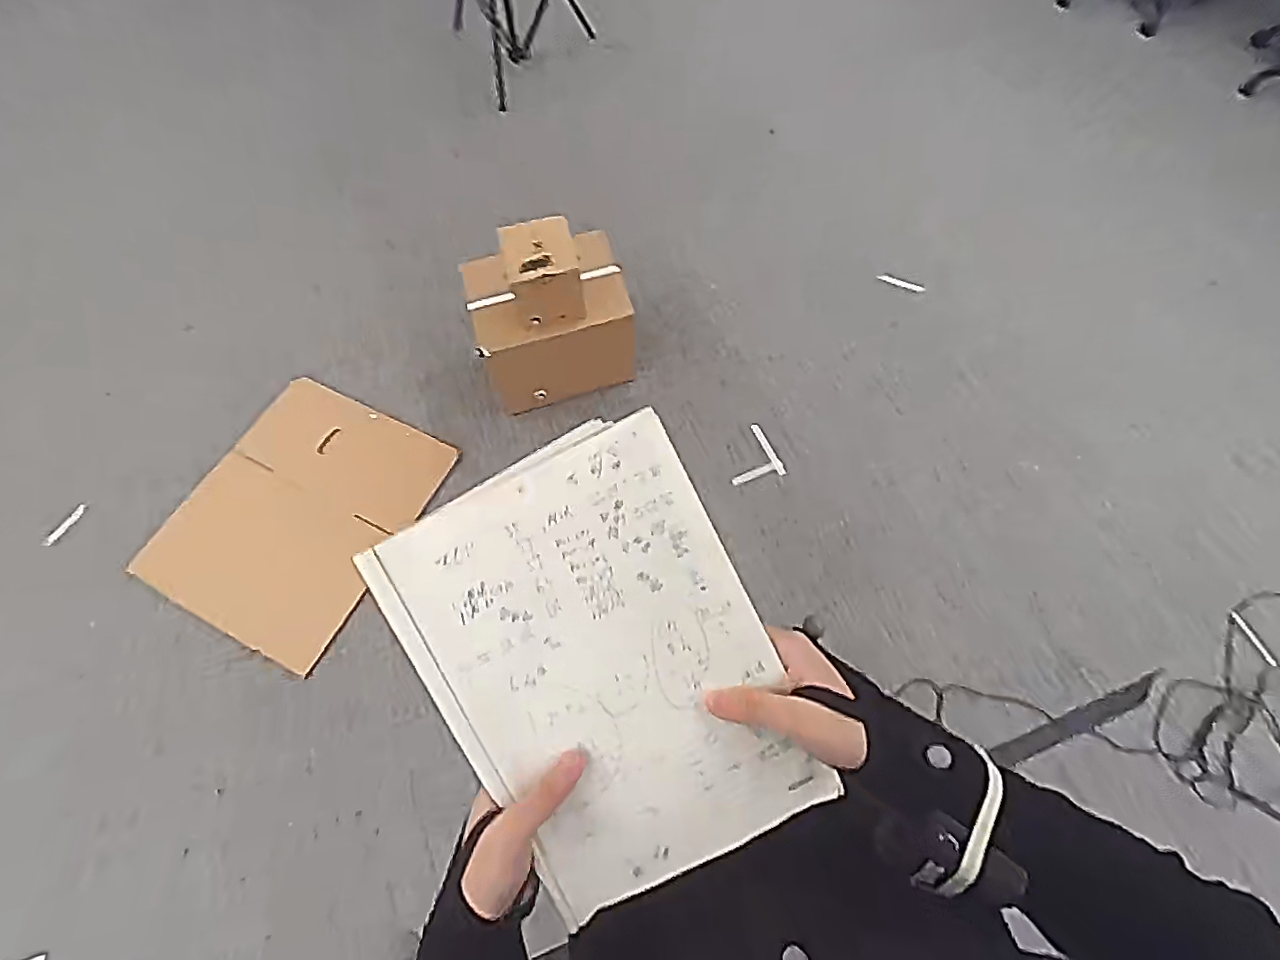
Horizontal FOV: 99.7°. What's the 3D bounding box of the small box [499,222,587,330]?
[{"bbox_3d":[-0.234,-0.491,1.329,0.168,0.176,0.179,-15,68,-5],"label":"small box"}]
